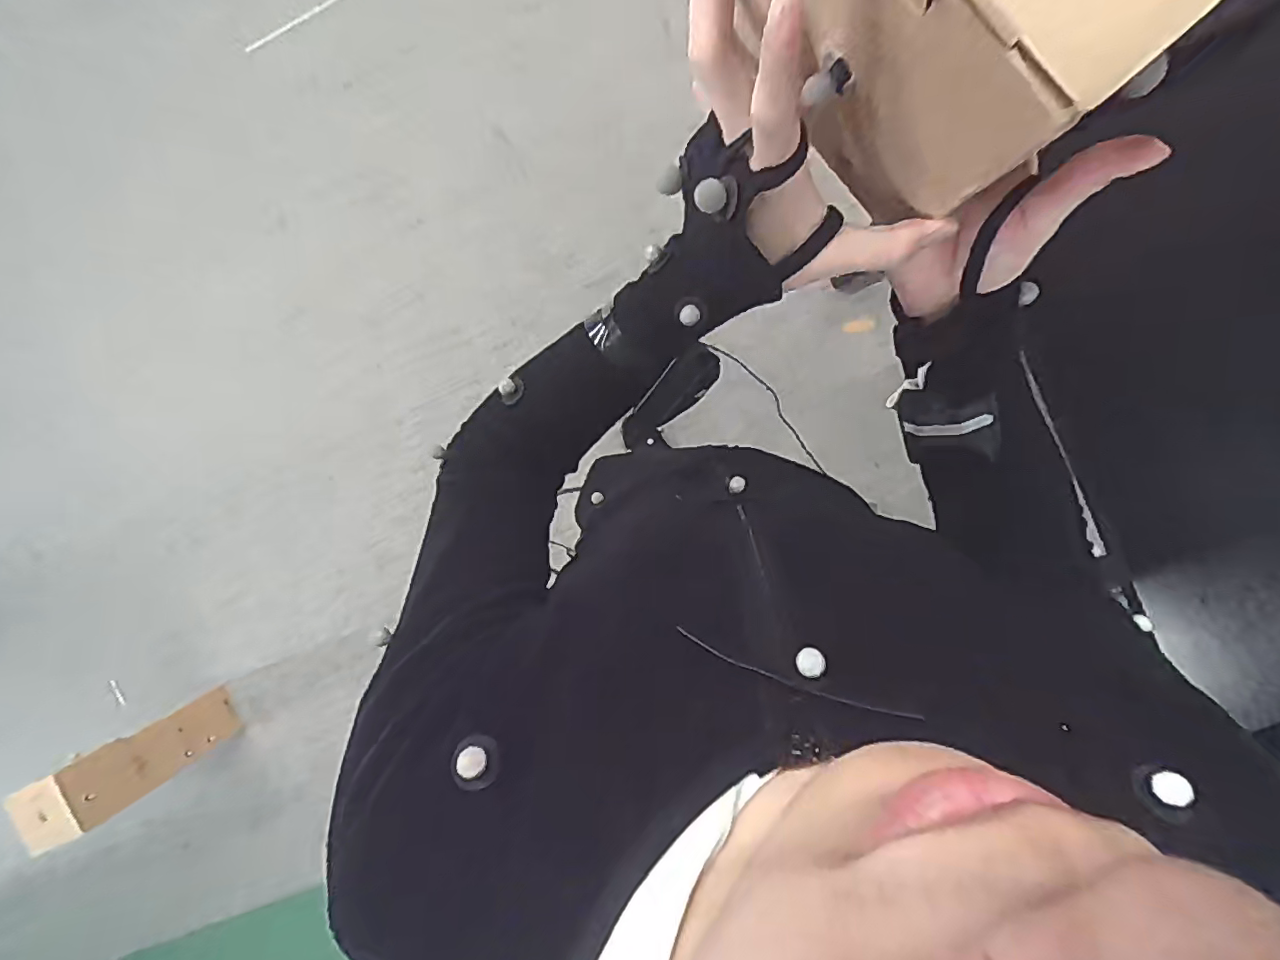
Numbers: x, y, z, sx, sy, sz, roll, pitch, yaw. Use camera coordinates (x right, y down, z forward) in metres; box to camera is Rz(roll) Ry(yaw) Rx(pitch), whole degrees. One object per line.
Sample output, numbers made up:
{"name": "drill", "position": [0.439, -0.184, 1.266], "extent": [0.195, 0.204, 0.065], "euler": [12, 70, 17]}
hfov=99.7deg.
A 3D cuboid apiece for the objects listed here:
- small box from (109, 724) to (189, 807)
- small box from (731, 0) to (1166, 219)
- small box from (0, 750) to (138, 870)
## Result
{"name": "small box", "position": [-1.451, 0.835, 1.548], "extent": [0.179, 0.176, 0.168], "euler": [-25, 91, 6]}
{"name": "small box", "position": [0.147, -0.247, 0.225], "extent": [0.179, 0.176, 0.168], "euler": [-42, 92, 14]}
{"name": "small box", "position": [-1.456, 0.835, 1.383], "extent": [0.168, 0.176, 0.179], "euler": [-24, 91, 5]}
